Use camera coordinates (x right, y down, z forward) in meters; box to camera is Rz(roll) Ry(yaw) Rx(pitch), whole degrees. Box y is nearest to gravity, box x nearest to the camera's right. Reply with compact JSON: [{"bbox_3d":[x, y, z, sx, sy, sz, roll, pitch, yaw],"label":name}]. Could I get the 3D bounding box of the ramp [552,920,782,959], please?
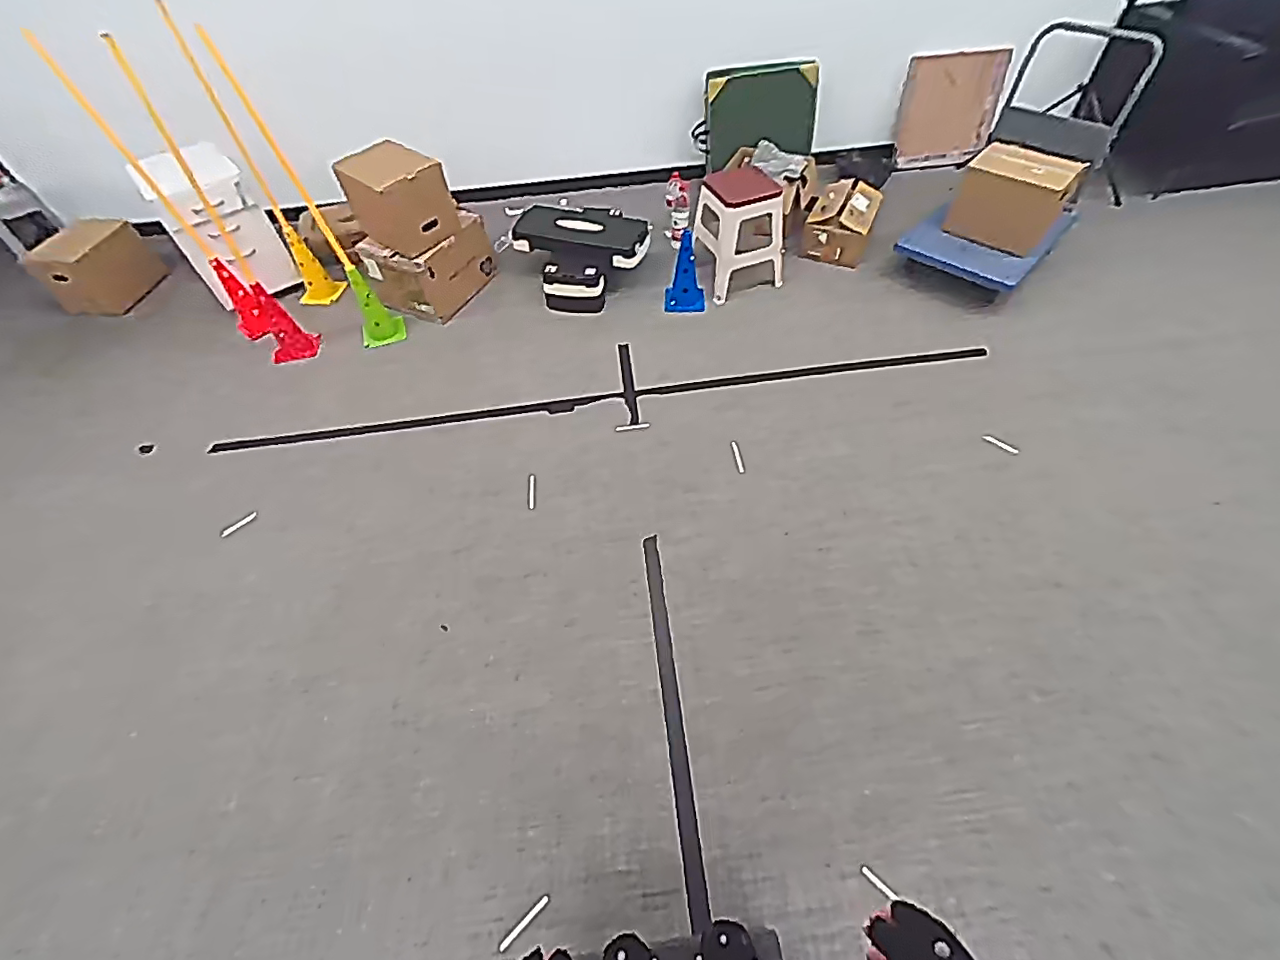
[{"bbox_3d":[0.110,1.385,0.886,0.509,0.206,0.991,-8,53,-4],"label":"ramp"}]
